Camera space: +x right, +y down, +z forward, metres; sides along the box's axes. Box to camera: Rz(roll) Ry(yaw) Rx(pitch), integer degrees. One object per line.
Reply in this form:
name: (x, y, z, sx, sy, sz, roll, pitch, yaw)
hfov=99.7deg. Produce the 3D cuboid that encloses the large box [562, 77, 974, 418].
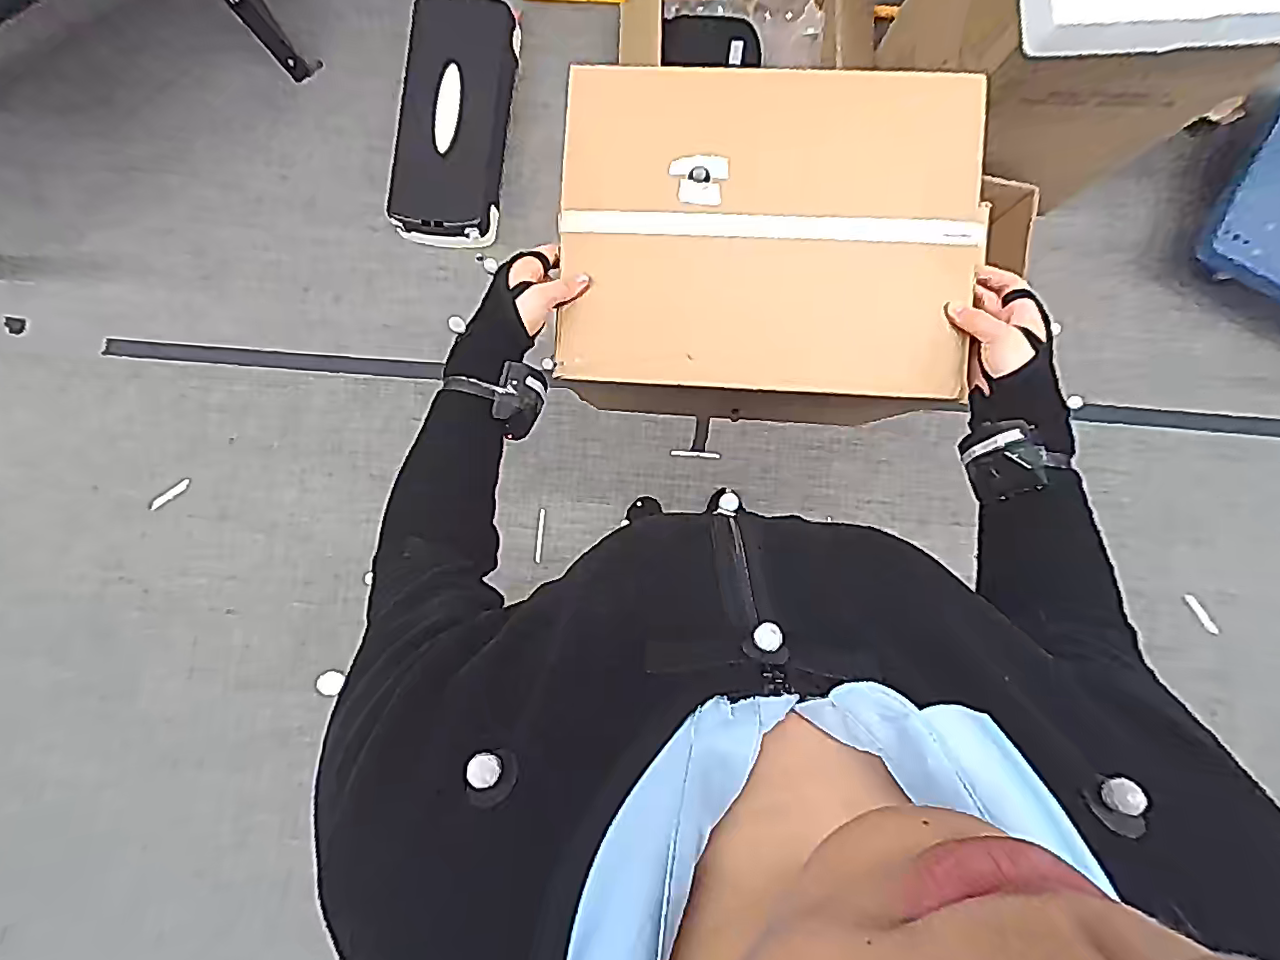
large box: (0.136, -0.250, 0.691, 0.408, 0.320, 0.320, 3, 90, 5)
